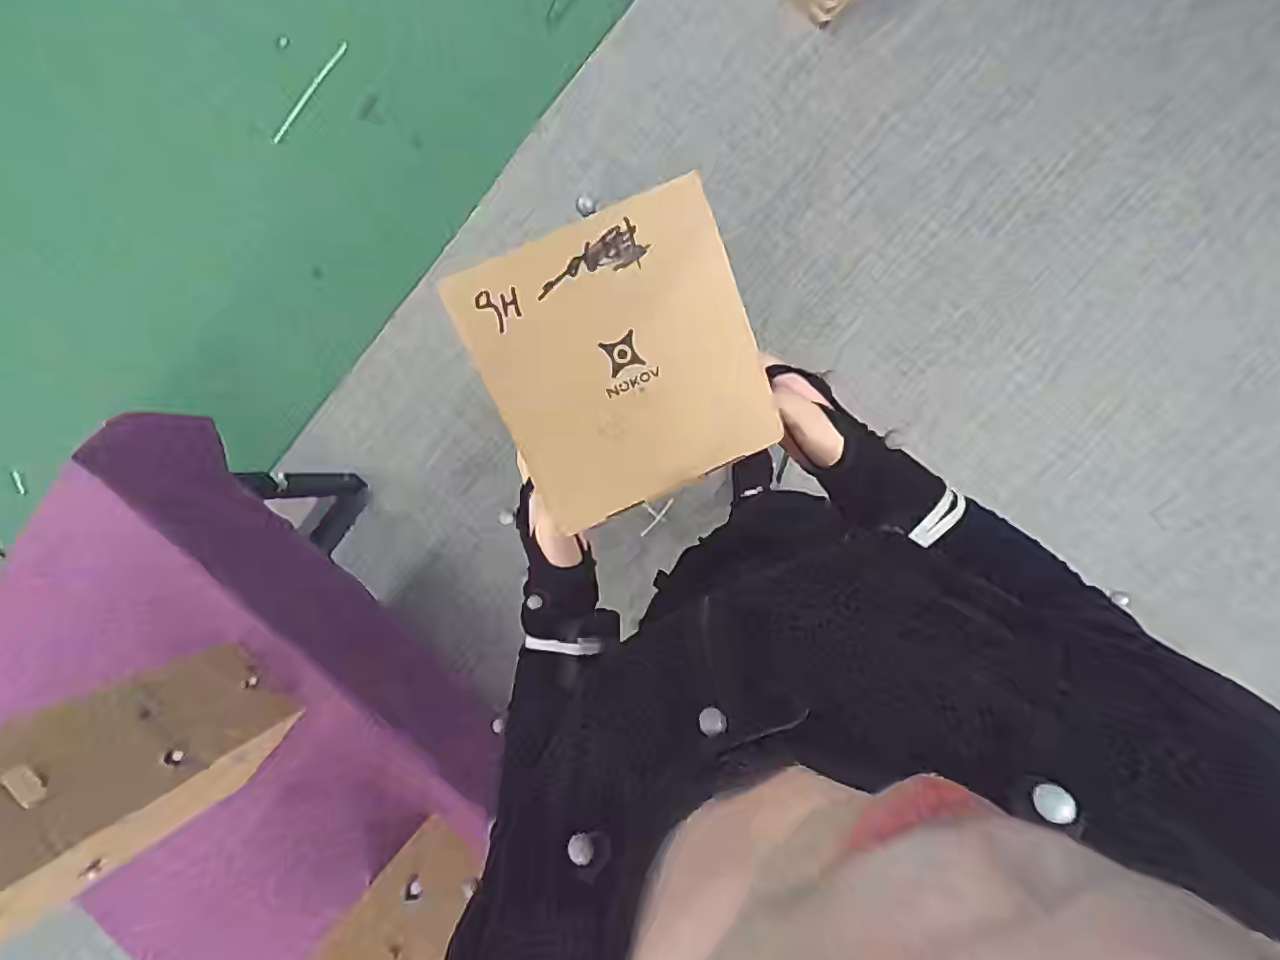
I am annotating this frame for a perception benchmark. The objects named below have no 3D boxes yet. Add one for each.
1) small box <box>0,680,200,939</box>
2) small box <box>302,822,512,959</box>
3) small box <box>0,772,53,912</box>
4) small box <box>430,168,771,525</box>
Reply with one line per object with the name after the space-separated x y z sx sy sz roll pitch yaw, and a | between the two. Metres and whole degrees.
-0.676 0.372 0.635 0.168 0.176 0.179 43 96 6 | small box
-0.313 0.620 0.749 0.179 0.176 0.168 40 96 6 | small box
-0.697 0.366 0.473 0.179 0.176 0.168 44 94 6 | small box
-0.027 -0.098 0.411 0.168 0.176 0.179 -24 109 -2 | small box
